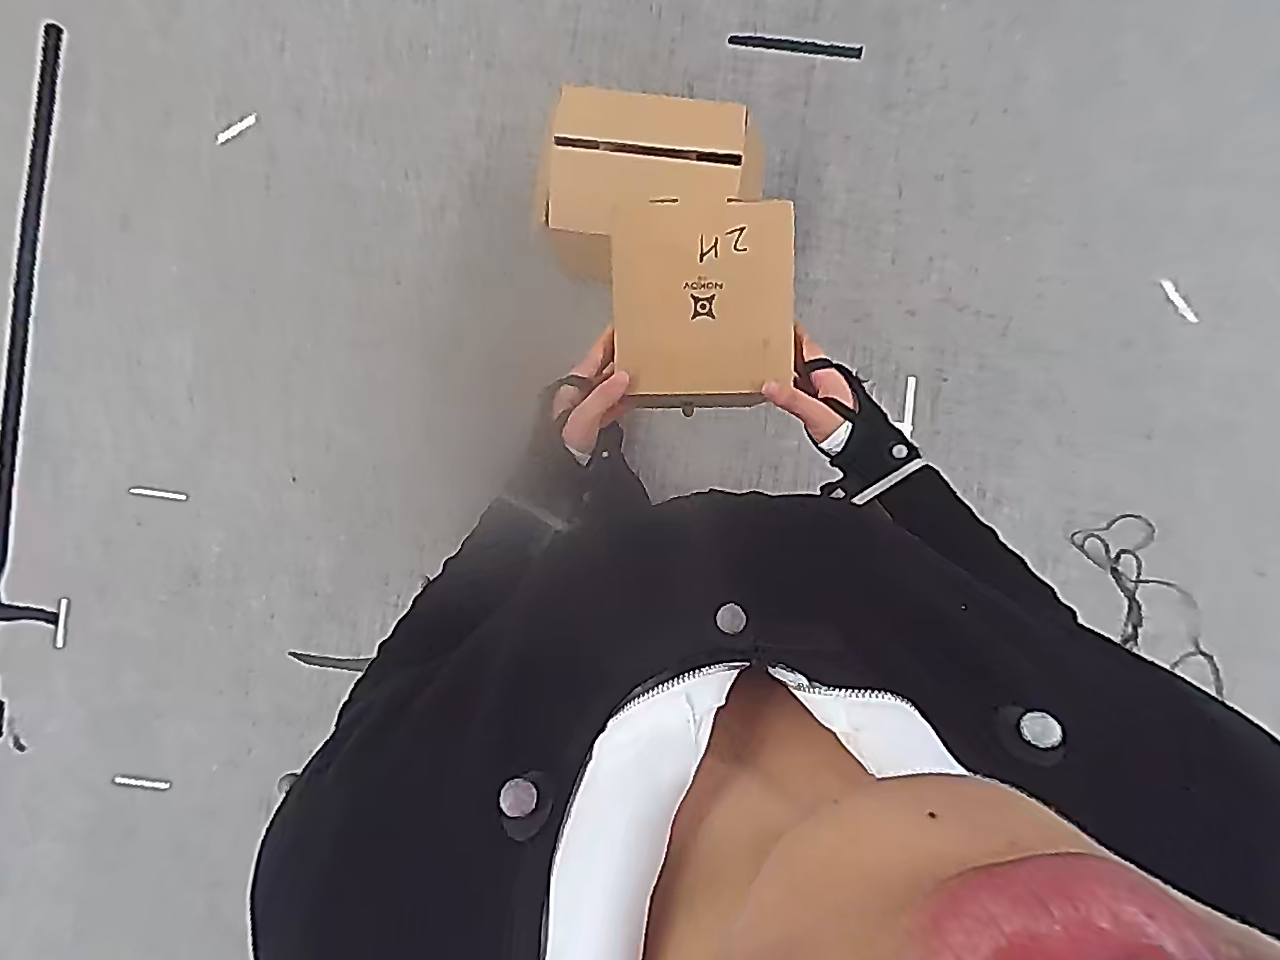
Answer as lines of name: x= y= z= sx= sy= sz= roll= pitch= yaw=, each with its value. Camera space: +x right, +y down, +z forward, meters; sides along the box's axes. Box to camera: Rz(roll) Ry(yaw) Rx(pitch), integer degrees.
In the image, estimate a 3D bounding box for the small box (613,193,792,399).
small box: x=0.055 y=-0.179 z=0.578 sx=0.168 sy=0.176 sz=0.179 roll=0 pitch=93 yaw=-2
